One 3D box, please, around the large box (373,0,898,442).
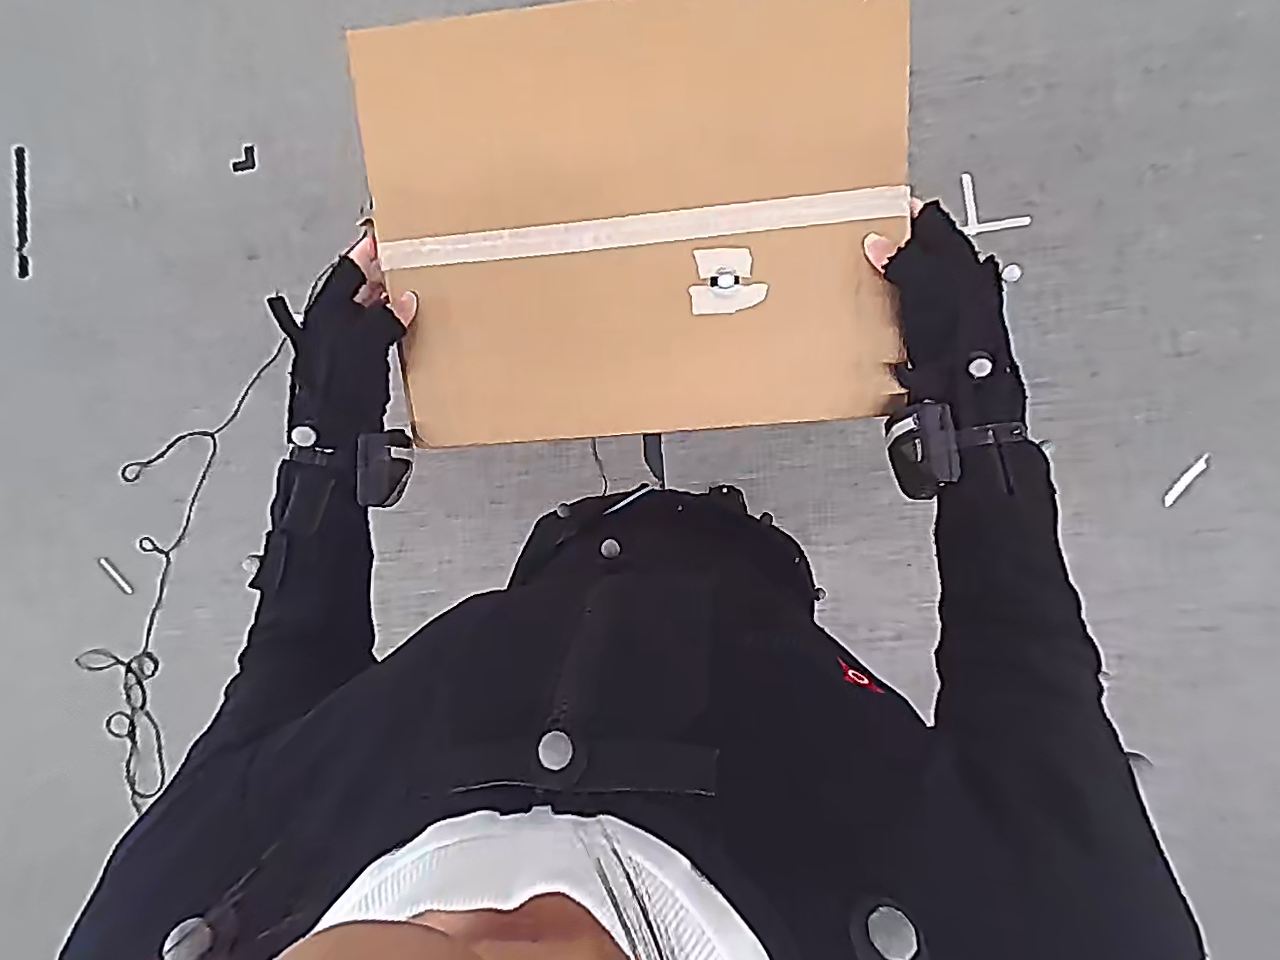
[{"bbox_3d":[0.008,-0.226,0.576,0.408,0.320,0.320,-4,102,4],"label":"large box"}]
